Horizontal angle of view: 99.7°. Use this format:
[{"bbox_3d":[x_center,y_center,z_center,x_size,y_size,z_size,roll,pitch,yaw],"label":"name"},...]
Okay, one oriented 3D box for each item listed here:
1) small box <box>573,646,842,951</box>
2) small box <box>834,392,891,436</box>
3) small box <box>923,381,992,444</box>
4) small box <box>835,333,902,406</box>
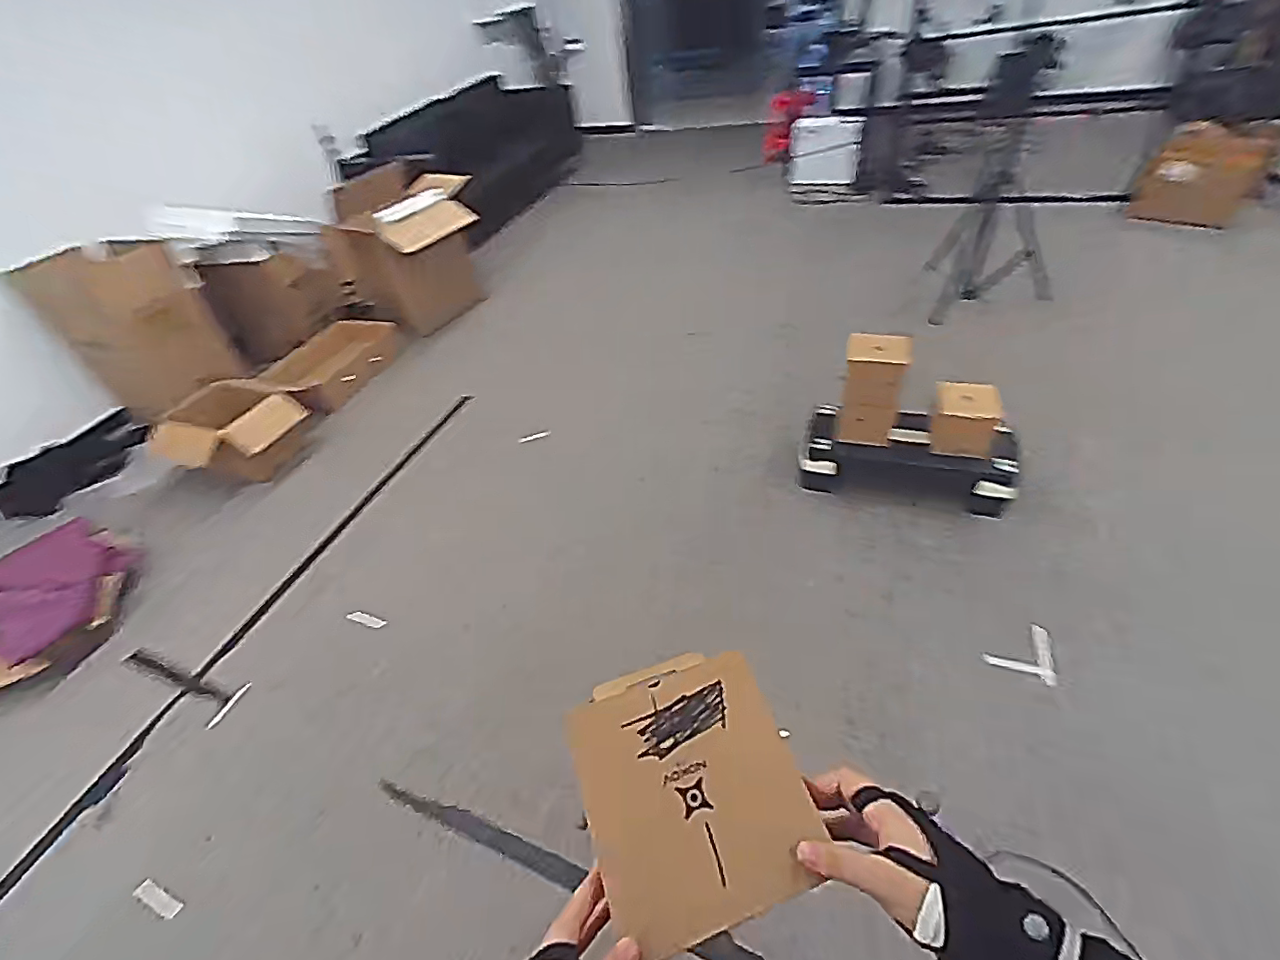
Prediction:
[{"bbox_3d":[0.045,0.284,0.488,0.168,0.176,0.179,-16,53,-10],"label":"small box"},{"bbox_3d":[0.764,-0.243,1.876,0.179,0.176,0.168,7,47,18],"label":"small box"},{"bbox_3d":[1.036,-0.204,1.783,0.168,0.176,0.179,7,47,19],"label":"small box"},{"bbox_3d":[0.742,-0.358,1.761,0.179,0.176,0.168,7,46,17],"label":"small box"}]
